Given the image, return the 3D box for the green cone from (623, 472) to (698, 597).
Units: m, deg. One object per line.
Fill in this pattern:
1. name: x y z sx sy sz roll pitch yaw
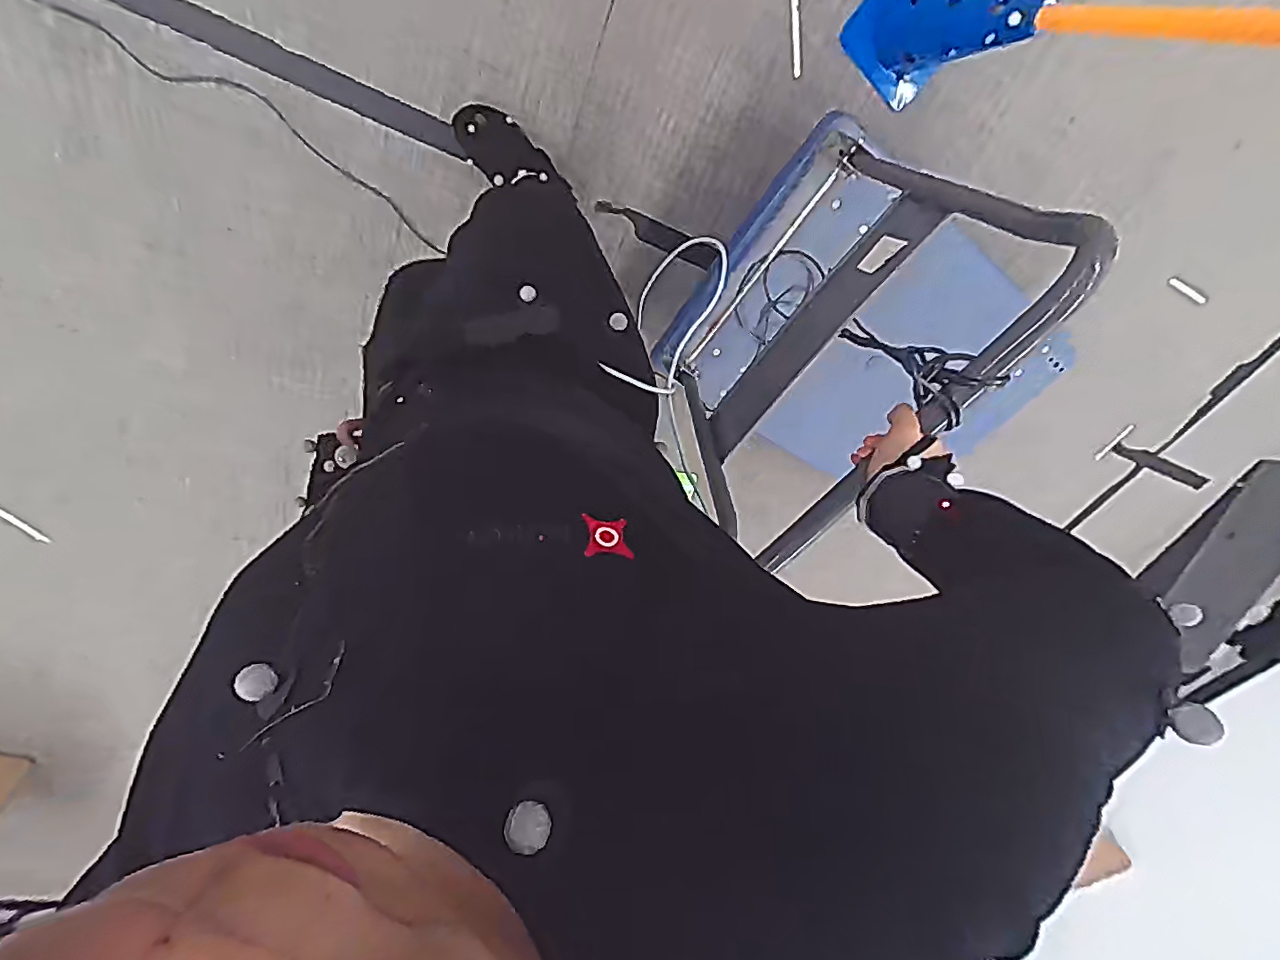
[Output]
1. green cone: 0.075 0.165 1.484 0.202 0.368 0.200 5 127 -10

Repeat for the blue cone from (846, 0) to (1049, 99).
1. blue cone: 0.508 -0.736 0.854 0.192 0.380 0.193 30 119 -27
